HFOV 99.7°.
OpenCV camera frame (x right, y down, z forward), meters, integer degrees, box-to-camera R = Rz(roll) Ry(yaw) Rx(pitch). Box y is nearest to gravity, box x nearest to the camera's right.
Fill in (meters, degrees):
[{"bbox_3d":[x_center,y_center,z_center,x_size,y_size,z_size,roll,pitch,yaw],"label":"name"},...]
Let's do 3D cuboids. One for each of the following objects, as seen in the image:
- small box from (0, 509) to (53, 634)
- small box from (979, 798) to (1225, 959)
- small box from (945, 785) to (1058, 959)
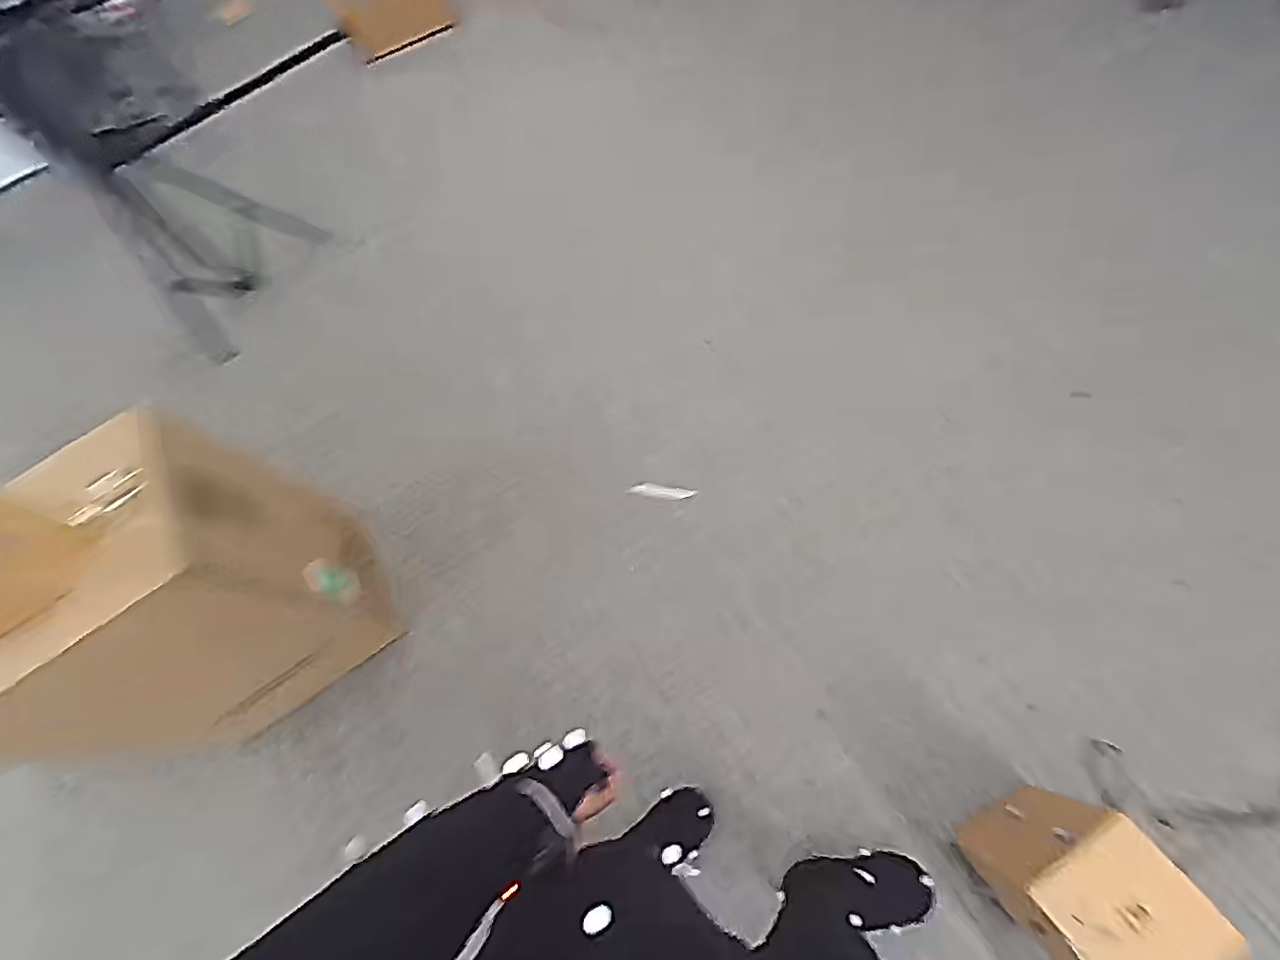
[{"bbox_3d":[-1.031,0.141,0.798,0.179,0.176,0.168,-35,65,-5],"label":"small box"},{"bbox_3d":[0.635,0.588,0.773,0.179,0.176,0.168,-36,64,-5],"label":"small box"},{"bbox_3d":[0.665,0.652,0.922,0.179,0.176,0.168,-34,64,-4],"label":"small box"}]
